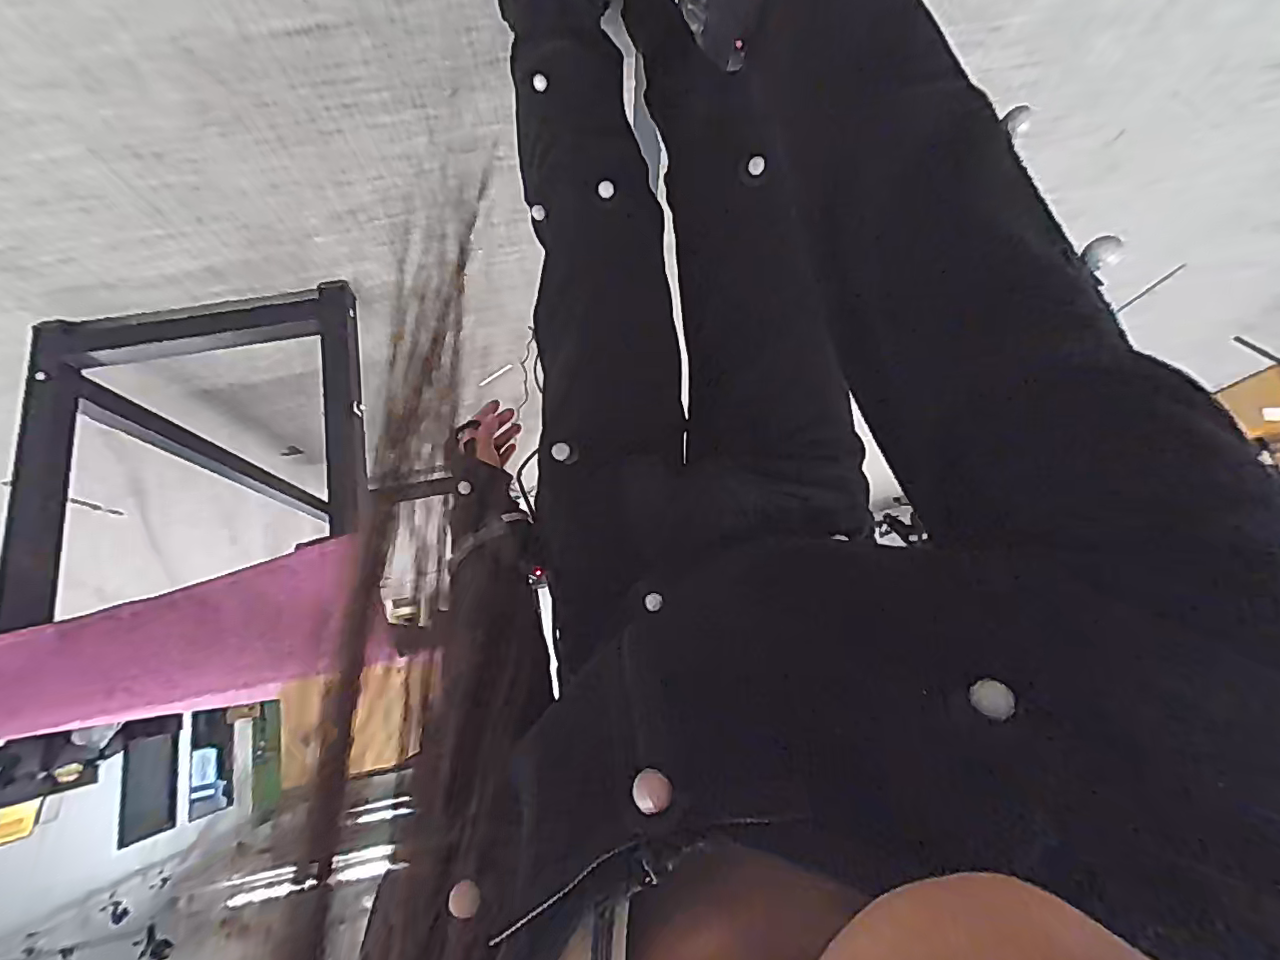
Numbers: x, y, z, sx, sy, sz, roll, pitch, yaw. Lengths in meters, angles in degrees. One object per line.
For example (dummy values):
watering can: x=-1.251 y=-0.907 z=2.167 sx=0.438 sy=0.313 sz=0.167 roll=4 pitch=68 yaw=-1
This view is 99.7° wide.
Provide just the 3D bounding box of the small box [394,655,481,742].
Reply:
small box: x=-0.522 y=0.556 z=1.400 sx=0.168 sy=0.176 sz=0.179 roll=-11 pitch=164 yaw=-6
